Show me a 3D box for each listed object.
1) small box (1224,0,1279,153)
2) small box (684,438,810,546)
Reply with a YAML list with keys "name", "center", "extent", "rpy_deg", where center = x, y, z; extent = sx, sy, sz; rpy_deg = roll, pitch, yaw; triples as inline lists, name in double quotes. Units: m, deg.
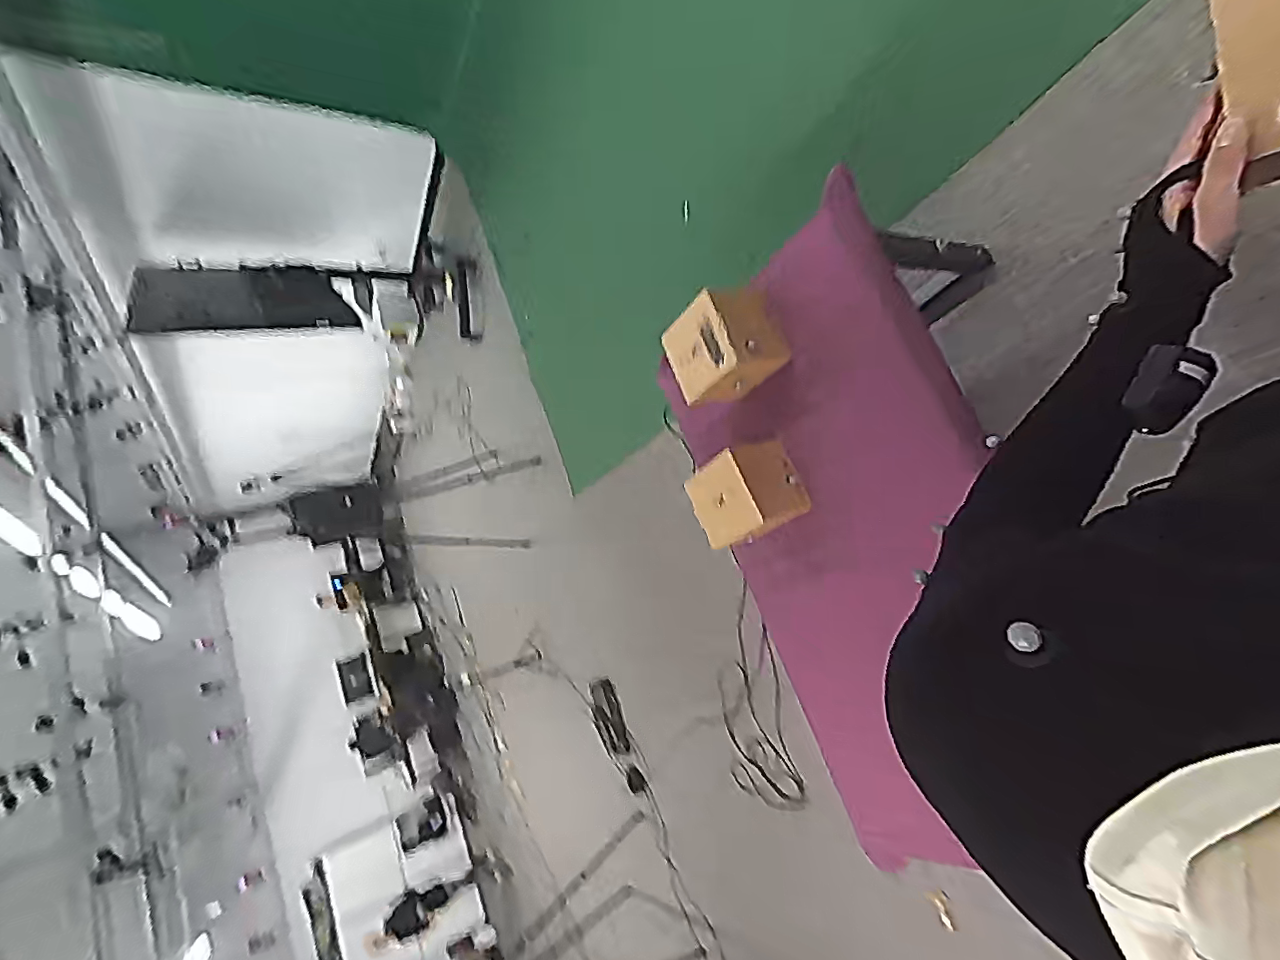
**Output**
- name: "small box"
  center: [0.548, -0.362, 0.387]
  extent: [0.168, 0.176, 0.179]
  rpy_deg: [-6, 99, 51]
- name: "small box"
  center: [0.232, 0.025, 1.177]
  extent: [0.179, 0.176, 0.168]
  rpy_deg: [-42, 68, 50]
